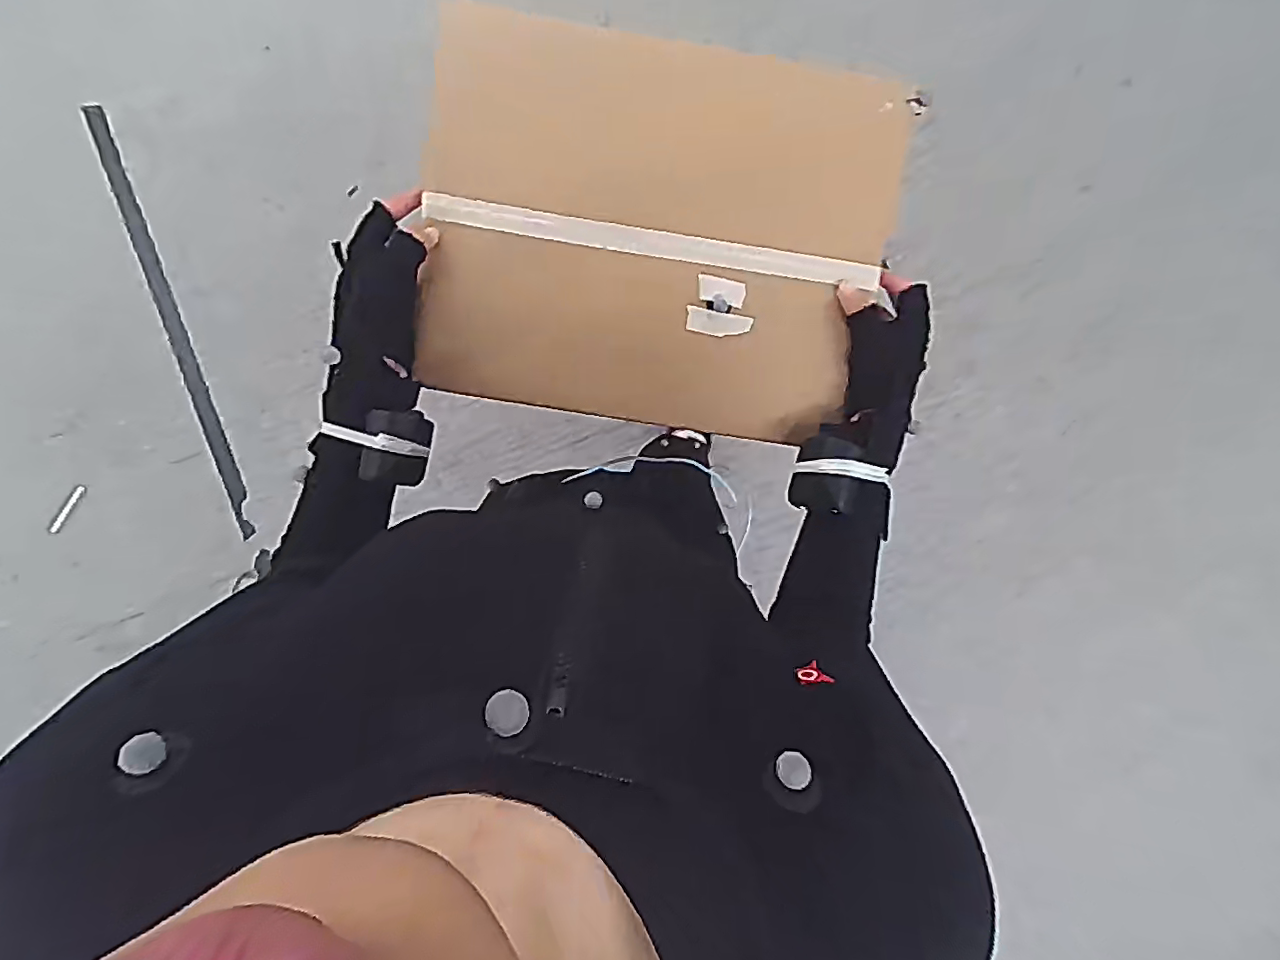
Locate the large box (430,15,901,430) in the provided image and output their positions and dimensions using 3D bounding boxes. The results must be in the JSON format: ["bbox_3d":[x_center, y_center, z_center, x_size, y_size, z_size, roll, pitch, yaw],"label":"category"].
[{"bbox_3d":[0.010,-0.251,0.640,0.408,0.320,0.320,8,102,-3],"label":"large box"}]
